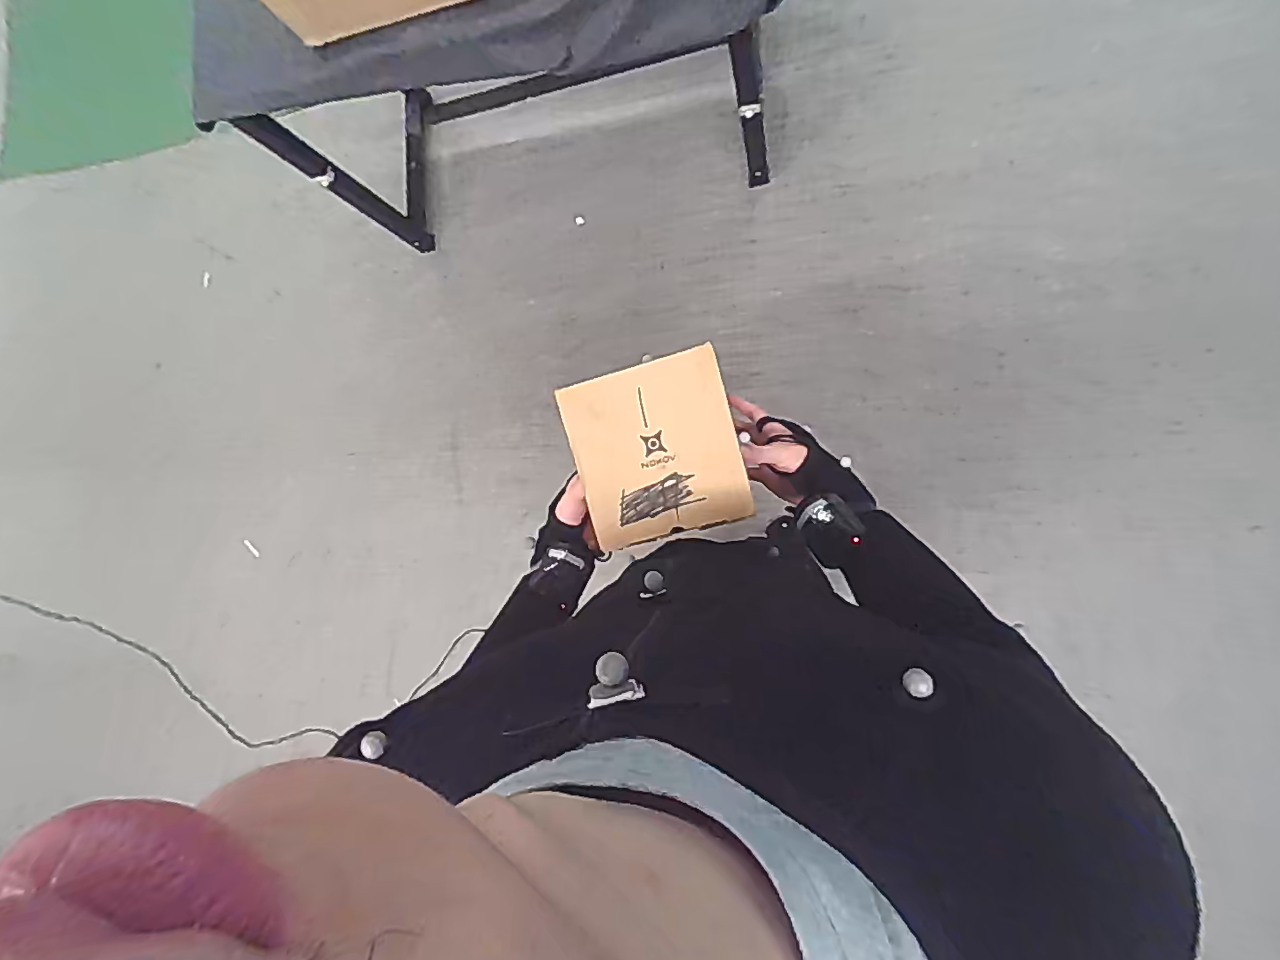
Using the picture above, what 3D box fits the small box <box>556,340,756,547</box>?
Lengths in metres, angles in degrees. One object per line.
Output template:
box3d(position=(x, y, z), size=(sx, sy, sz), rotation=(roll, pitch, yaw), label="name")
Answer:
box3d(position=(0.028, -0.044, 0.614), size=(0.168, 0.176, 0.179), rotation=(-16, 96, 10), label="small box")
